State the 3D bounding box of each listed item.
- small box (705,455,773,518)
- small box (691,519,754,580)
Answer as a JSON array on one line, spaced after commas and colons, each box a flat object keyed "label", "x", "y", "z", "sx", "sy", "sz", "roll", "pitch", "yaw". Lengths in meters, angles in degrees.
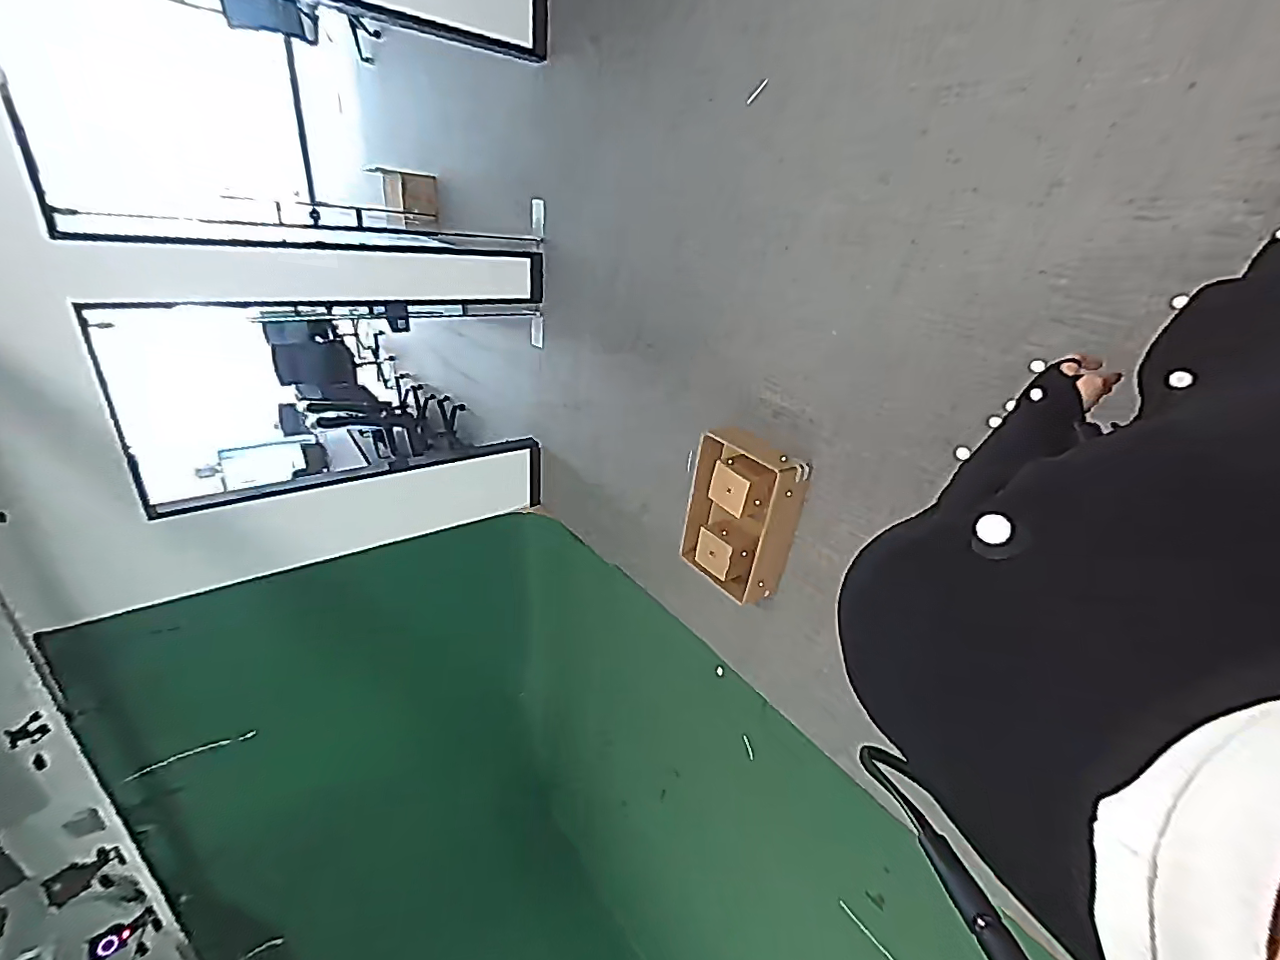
[{"label": "small box", "x": 0.385, "y": 0.016, "z": 2.083, "sx": 0.179, "sy": 0.176, "sz": 0.168, "roll": 39, "pitch": 131, "yaw": 40}, {"label": "small box", "x": 0.341, "y": 0.278, "z": 2.223, "sx": 0.179, "sy": 0.176, "sz": 0.168, "roll": 36, "pitch": 126, "yaw": 43}]
